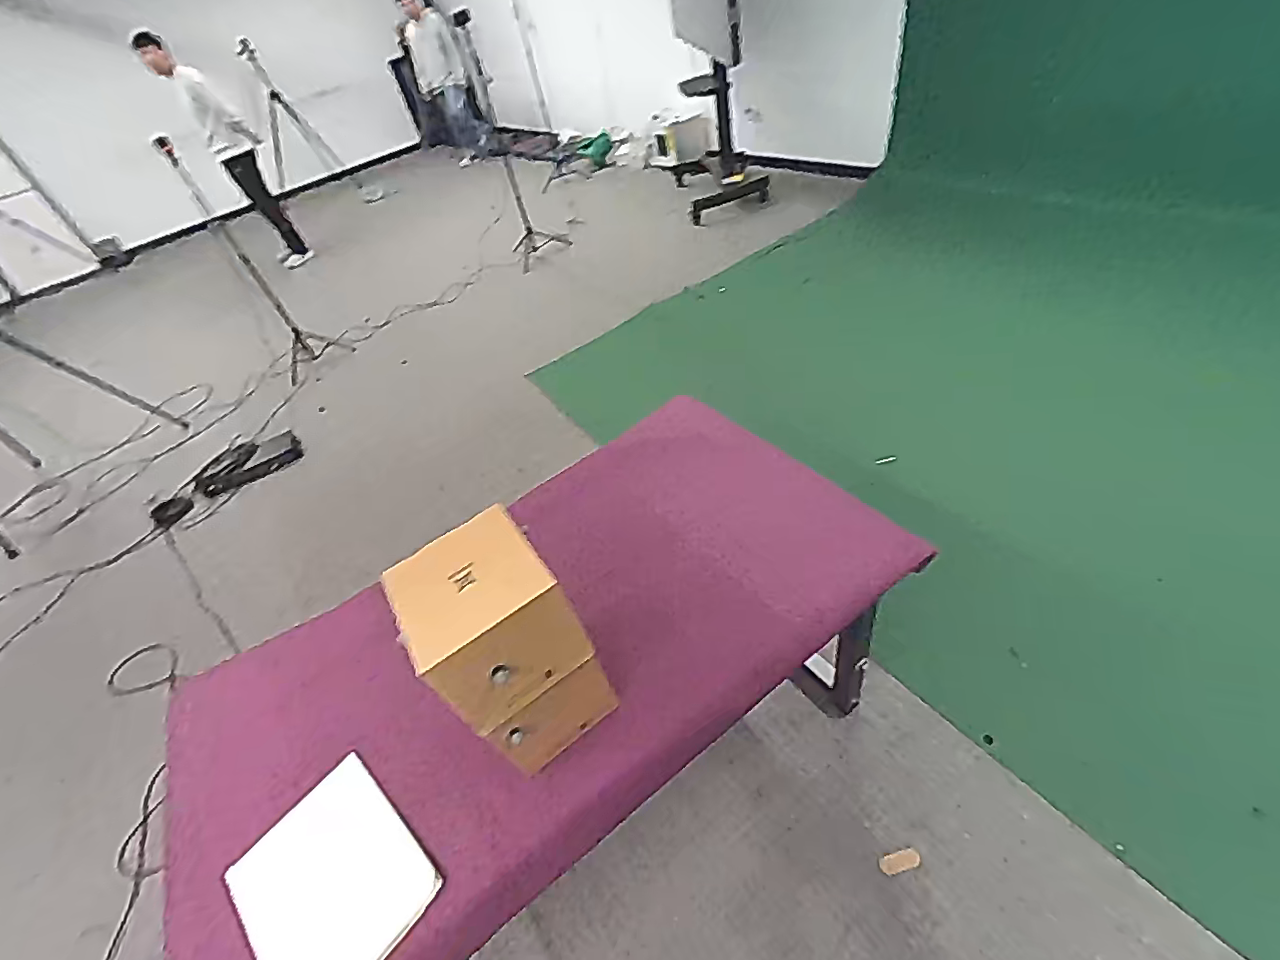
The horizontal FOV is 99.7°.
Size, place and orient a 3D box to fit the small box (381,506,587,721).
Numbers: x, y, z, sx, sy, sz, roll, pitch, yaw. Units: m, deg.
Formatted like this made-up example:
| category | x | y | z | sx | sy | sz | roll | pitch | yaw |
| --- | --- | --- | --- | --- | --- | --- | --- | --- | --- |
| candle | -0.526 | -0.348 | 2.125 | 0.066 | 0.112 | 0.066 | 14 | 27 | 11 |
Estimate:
| category | x | y | z | sx | sy | sz | roll | pitch | yaw |
| --- | --- | --- | --- | --- | --- | --- | --- | --- | --- |
| small box | -0.189 | 0.173 | 0.682 | 0.168 | 0.176 | 0.179 | -33 | 44 | -17 |
